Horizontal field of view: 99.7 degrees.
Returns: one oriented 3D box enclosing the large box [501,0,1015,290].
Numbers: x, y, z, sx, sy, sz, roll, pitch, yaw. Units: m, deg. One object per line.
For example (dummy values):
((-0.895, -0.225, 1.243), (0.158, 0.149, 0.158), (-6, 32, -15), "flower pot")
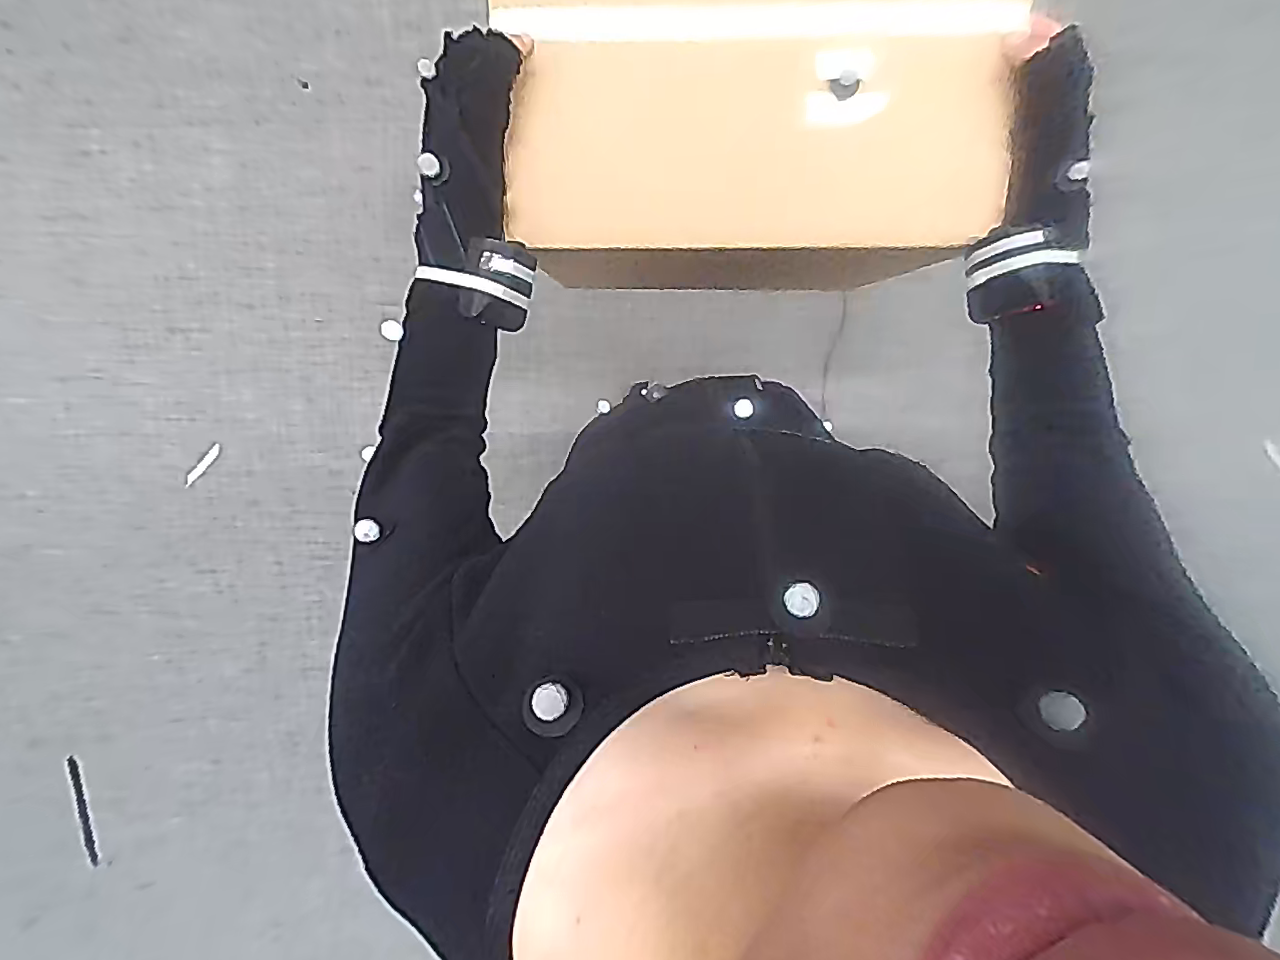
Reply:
((0.090, -0.385, 0.567), (0.408, 0.320, 0.320), (0, 103, 1), "large box")
